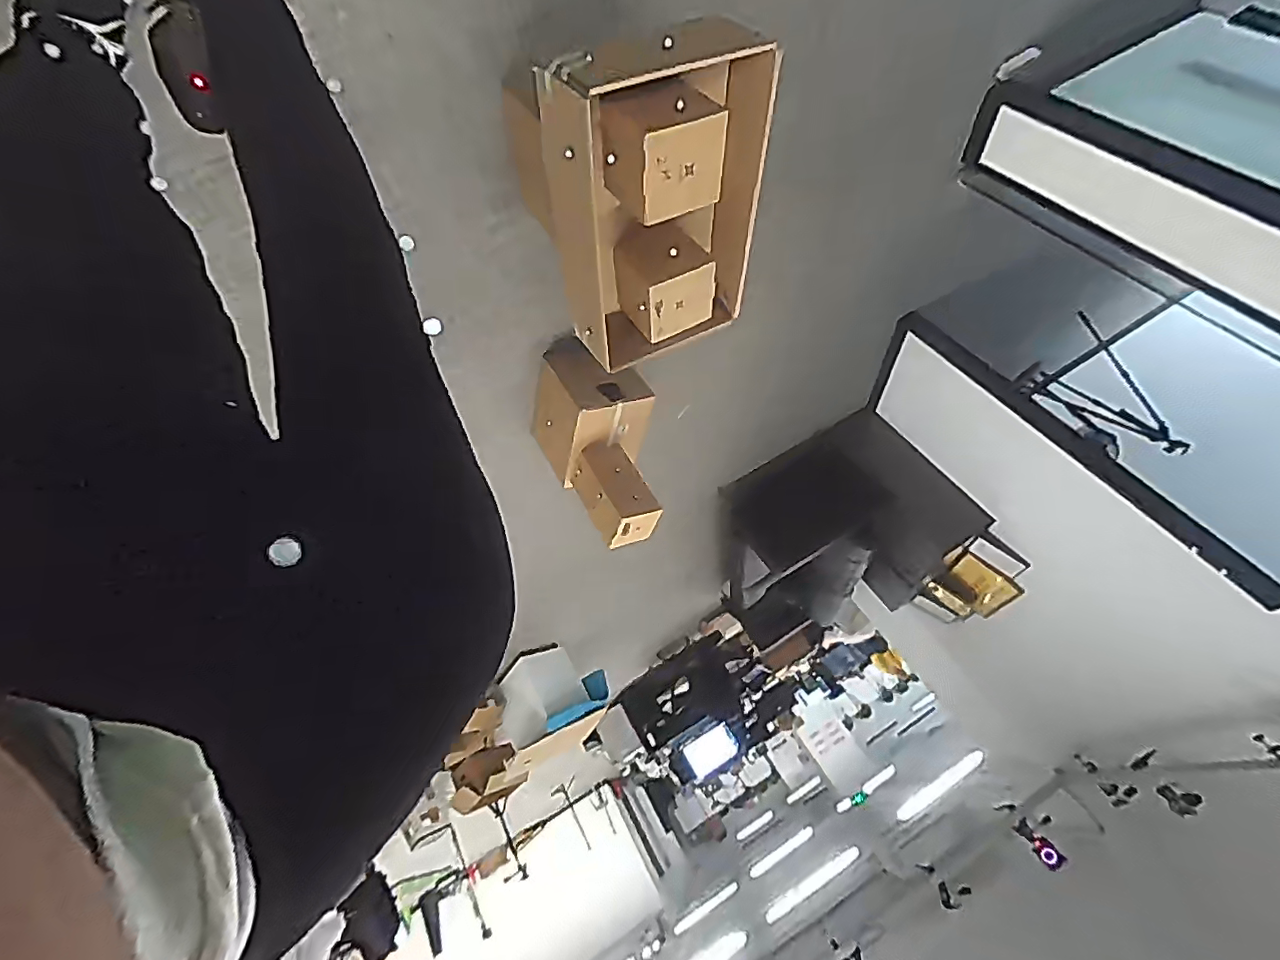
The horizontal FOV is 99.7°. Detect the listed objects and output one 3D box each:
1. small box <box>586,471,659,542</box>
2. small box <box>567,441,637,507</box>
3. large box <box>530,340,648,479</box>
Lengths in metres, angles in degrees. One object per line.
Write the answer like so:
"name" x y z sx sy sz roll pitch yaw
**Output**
"small box" -0.069 0.090 1.919 0.179 0.176 0.168 -12 144 -35
"small box" -0.145 -0.028 2.004 0.179 0.176 0.168 -11 143 -34
"large box" -0.212 -0.272 2.076 0.320 0.320 0.408 -18 146 -30
